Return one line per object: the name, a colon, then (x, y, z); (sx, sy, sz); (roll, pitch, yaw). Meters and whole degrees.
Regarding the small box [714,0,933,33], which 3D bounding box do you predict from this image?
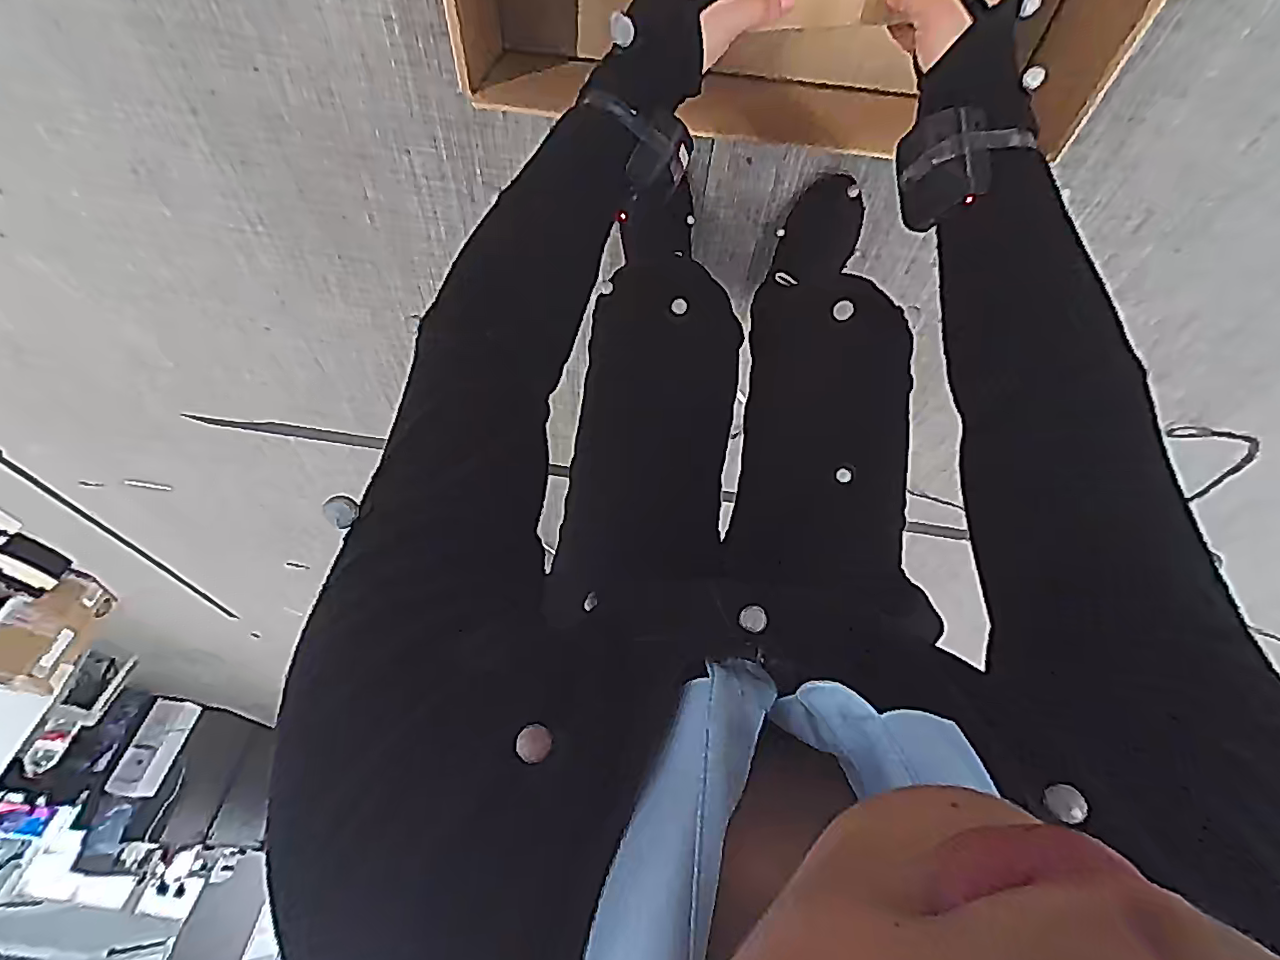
small box: (0.144, -0.471, 0.411); (0.168, 0.176, 0.179); (1, 139, 5)
